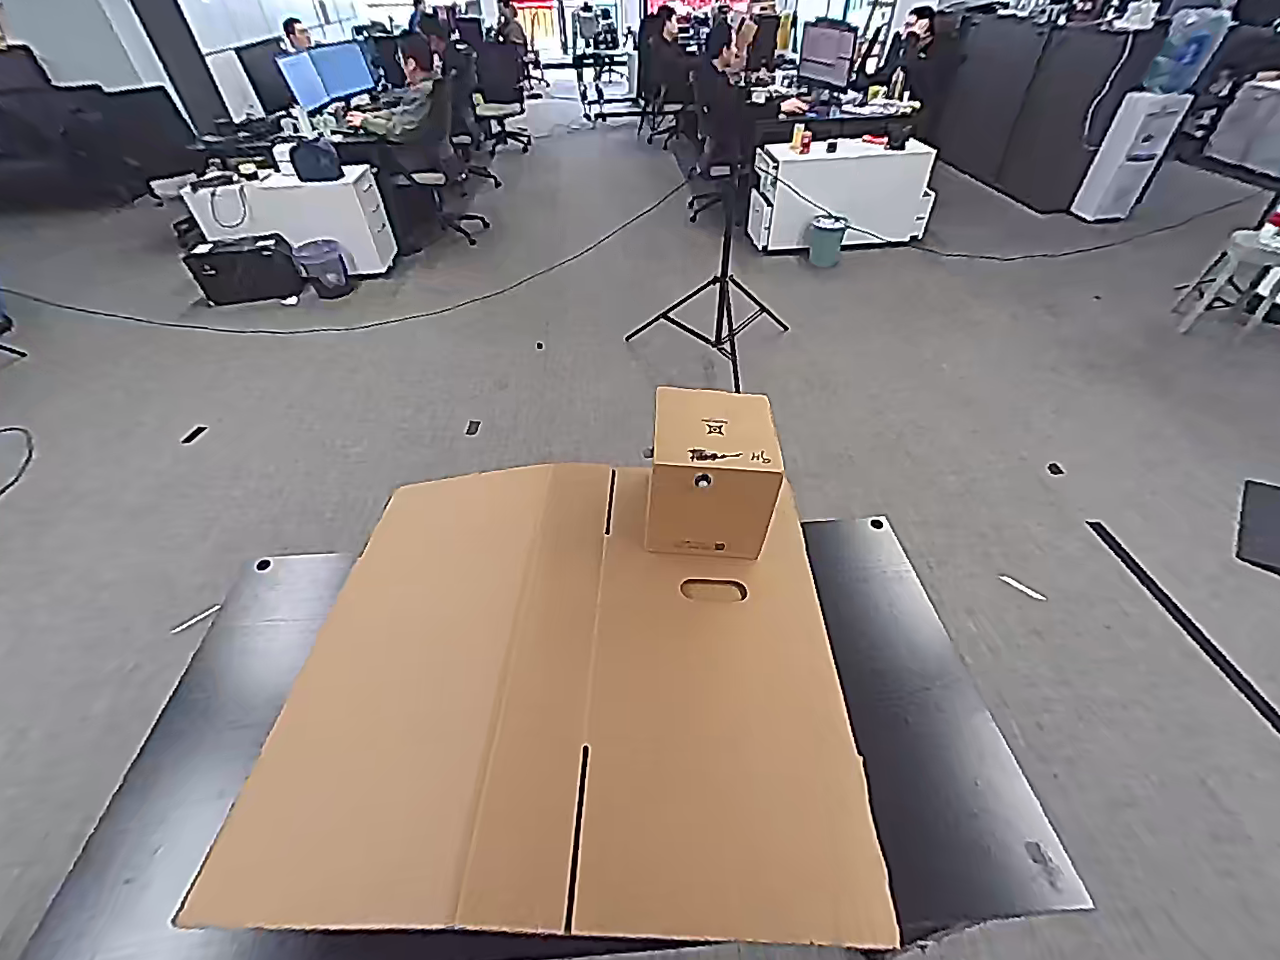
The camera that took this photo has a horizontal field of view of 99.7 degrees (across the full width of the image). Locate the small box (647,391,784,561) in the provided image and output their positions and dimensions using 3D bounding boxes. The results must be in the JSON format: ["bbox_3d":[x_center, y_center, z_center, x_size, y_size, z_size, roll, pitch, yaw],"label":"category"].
[{"bbox_3d":[0.097,-0.008,0.782,0.168,0.176,0.179,4,41,0],"label":"small box"}]
